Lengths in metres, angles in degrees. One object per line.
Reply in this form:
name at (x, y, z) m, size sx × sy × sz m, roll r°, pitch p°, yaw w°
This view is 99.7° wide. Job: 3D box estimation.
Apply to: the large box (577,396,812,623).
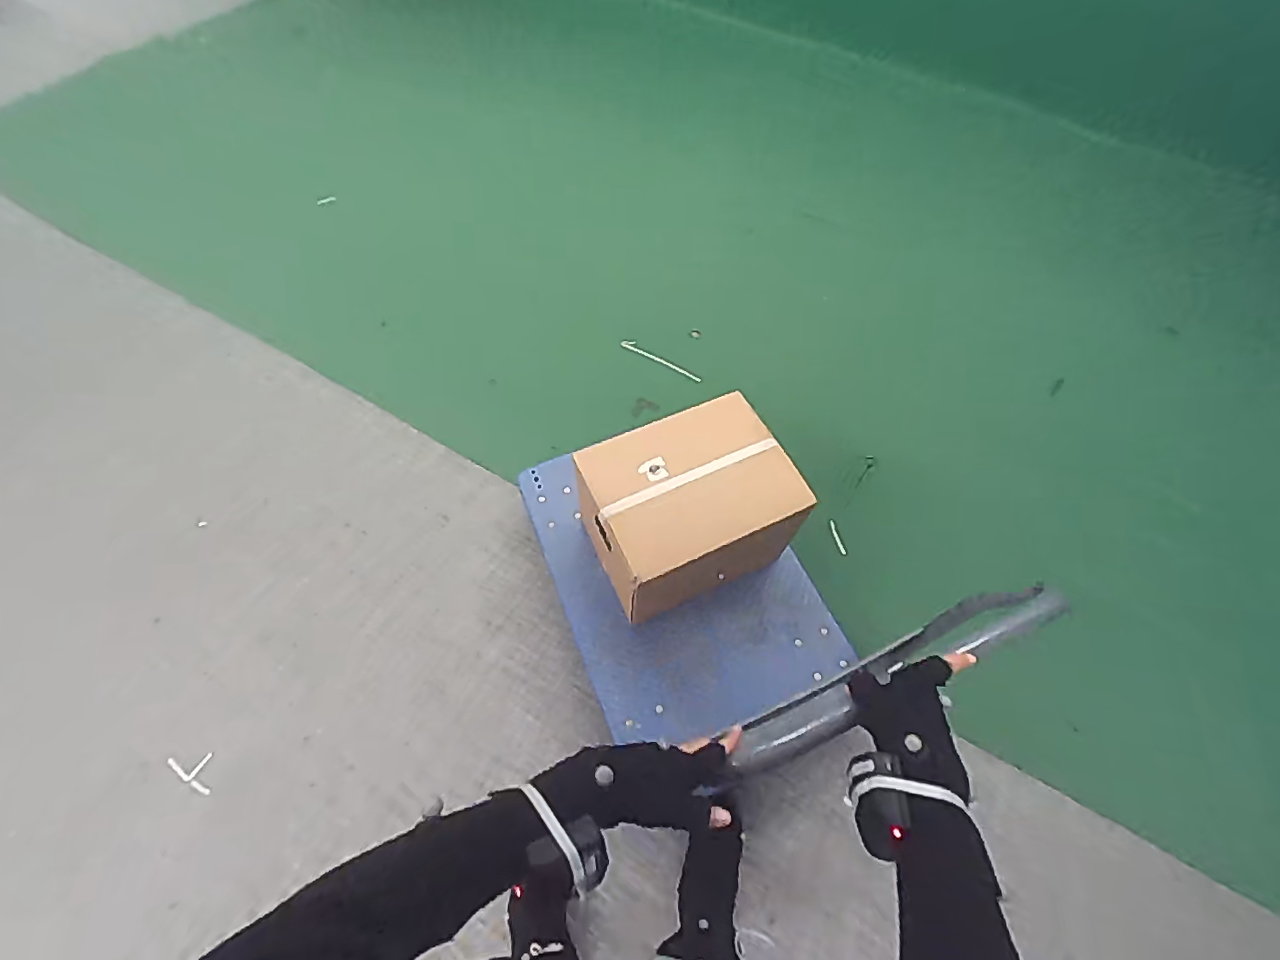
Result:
large box at (0.105, 0.073, 1.237) m, size 0.408 × 0.320 × 0.320 m, roll -22°, pitch 63°, yaw -14°
